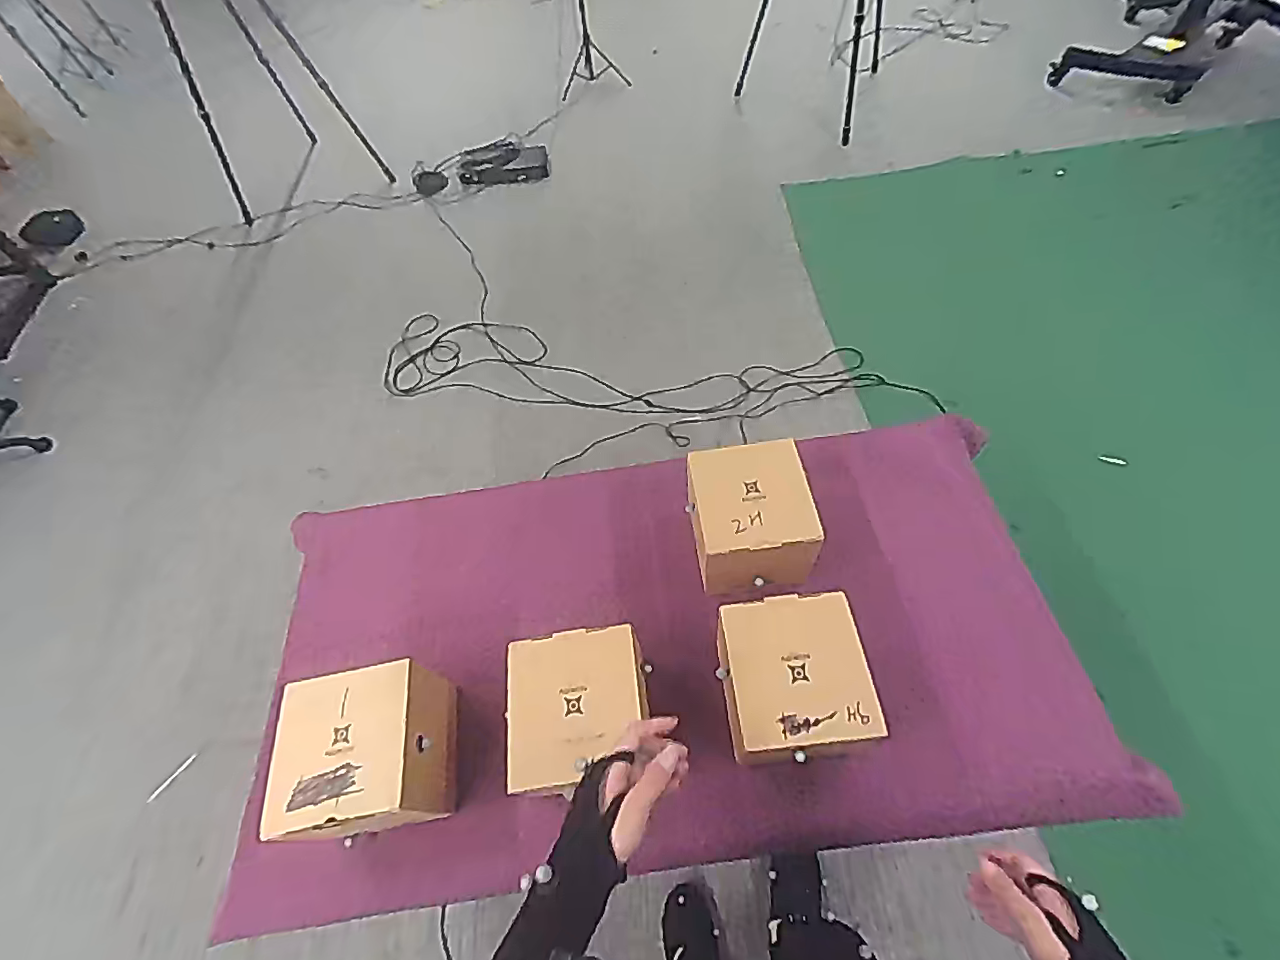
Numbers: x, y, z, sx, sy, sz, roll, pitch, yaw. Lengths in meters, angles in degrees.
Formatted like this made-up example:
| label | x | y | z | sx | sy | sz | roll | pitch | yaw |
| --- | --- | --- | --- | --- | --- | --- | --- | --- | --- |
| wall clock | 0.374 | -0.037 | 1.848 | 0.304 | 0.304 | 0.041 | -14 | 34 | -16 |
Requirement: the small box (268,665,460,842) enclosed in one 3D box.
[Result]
| label | x | y | z | sx | sy | sz | roll | pitch | yaw |
| --- | --- | --- | --- | --- | --- | --- | --- | --- | --- |
| small box | -0.356 | 0.374 | 0.736 | 0.168 | 0.176 | 0.179 | -12 | 56 | 0 |

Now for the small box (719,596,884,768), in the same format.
| label | x | y | z | sx | sy | sz | roll | pitch | yaw |
| --- | --- | --- | --- | --- | --- | --- | --- | --- | --- |
| small box | 0.199 | 0.276 | 0.727 | 0.168 | 0.176 | 0.179 | -8 | 57 | 3 |

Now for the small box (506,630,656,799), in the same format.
| label | x | y | z | sx | sy | sz | roll | pitch | yaw |
| --- | --- | --- | --- | --- | --- | --- | --- | --- | --- |
| small box | -0.074 | 0.322 | 0.736 | 0.168 | 0.176 | 0.179 | -10 | 58 | 3 |

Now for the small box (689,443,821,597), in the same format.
| label | x | y | z | sx | sy | sz | roll | pitch | yaw |
| --- | --- | --- | --- | --- | --- | --- | --- | --- | --- |
| small box | 0.170 | 0.068 | 0.859 | 0.168 | 0.176 | 0.179 | -9 | 59 | 3 |
